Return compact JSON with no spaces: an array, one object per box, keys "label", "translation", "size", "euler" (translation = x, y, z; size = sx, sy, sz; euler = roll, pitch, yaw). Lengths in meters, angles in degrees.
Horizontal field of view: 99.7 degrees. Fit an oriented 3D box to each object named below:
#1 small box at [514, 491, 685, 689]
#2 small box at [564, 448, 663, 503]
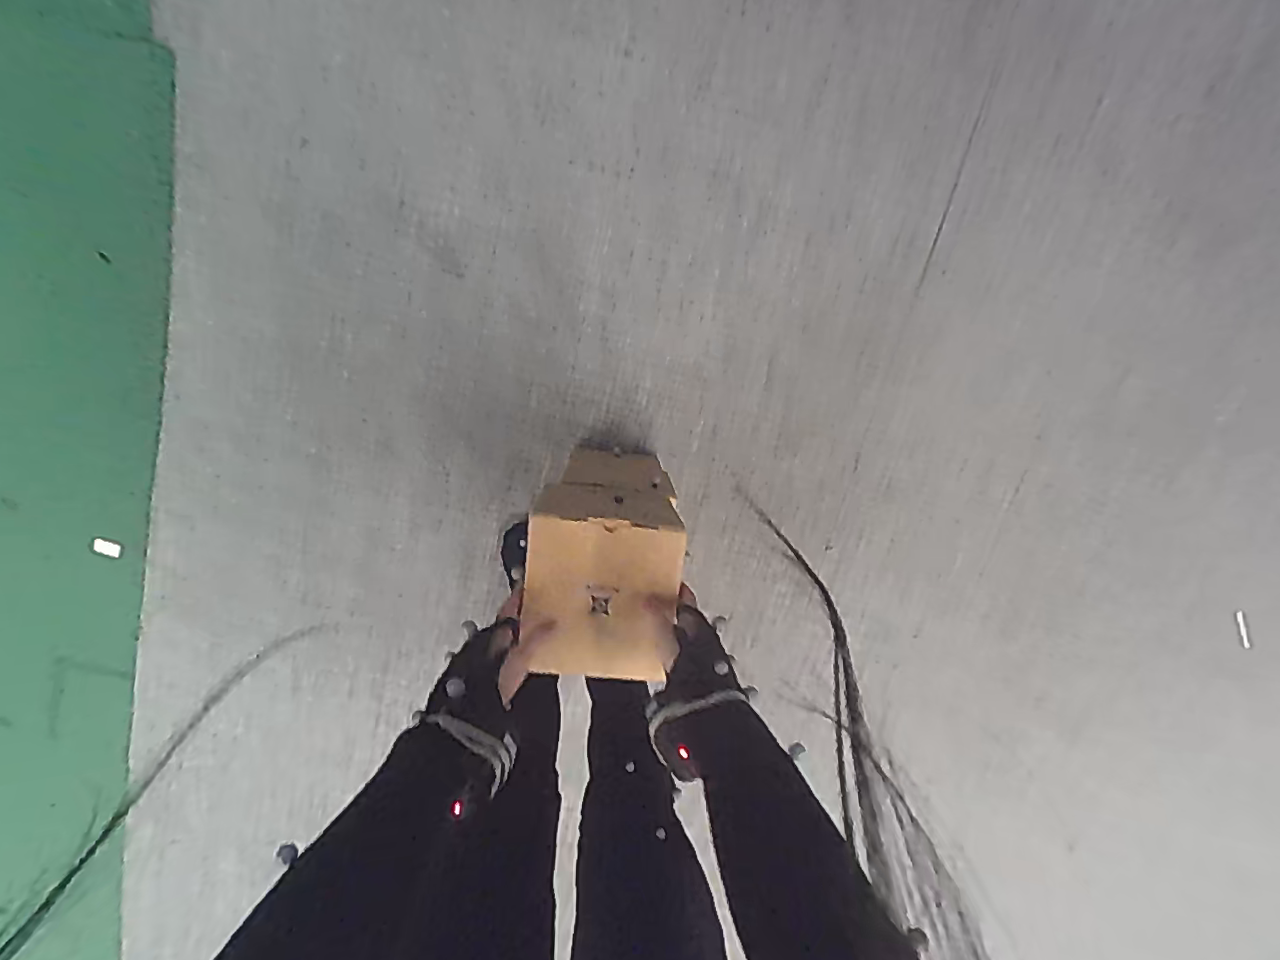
[{"label":"small box","translation":[-0.048,0.121,0.648],"size":[0.168,0.176,0.179],"euler":[7,99,-5]},{"label":"small box","translation":[-0.055,0.050,1.000],"size":[0.168,0.176,0.179],"euler":[8,103,-4]}]
